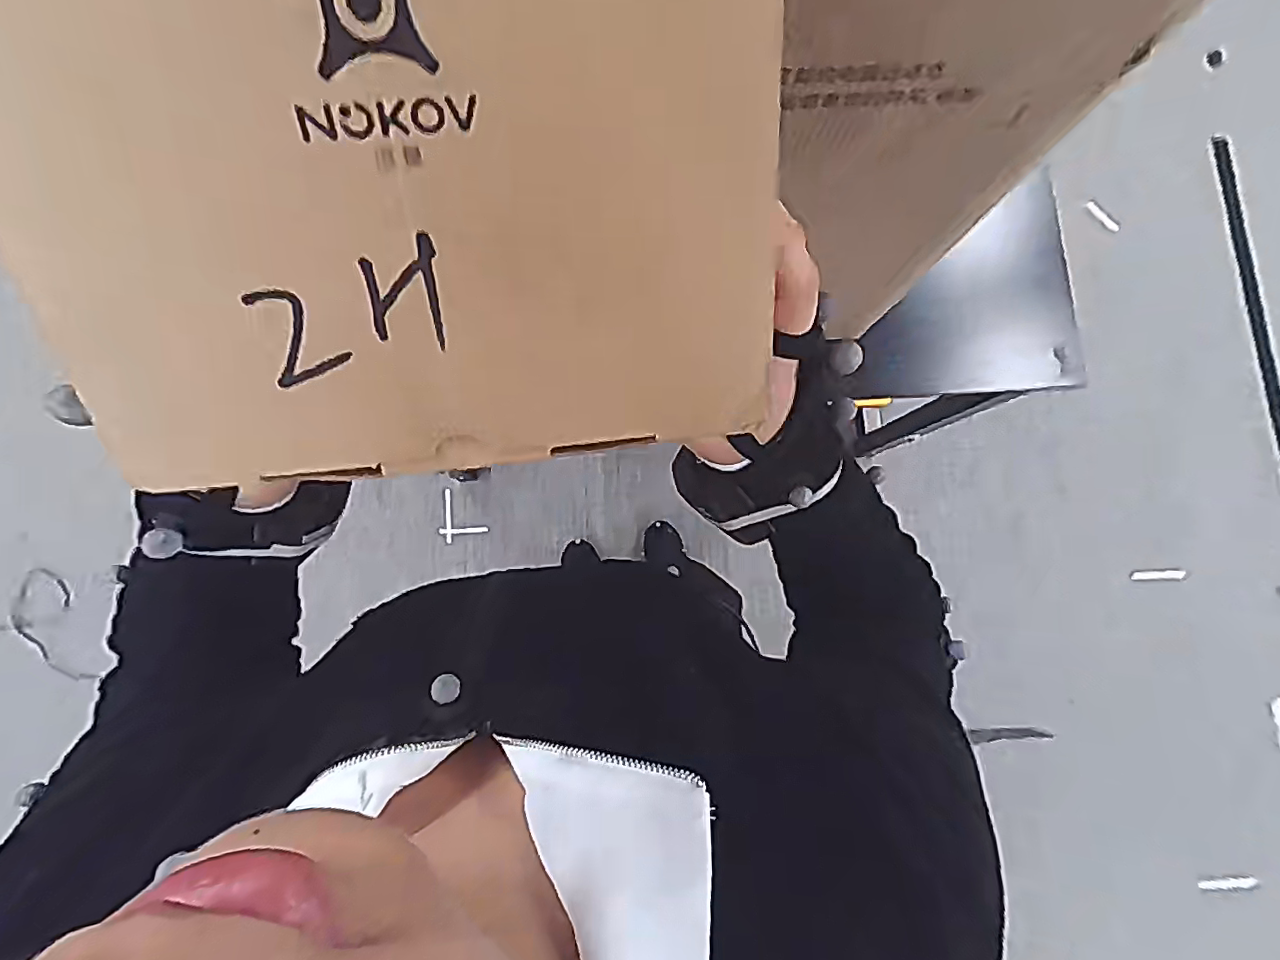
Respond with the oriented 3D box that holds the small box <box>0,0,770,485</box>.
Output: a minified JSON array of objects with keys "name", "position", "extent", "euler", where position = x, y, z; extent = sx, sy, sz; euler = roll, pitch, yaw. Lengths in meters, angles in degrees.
[{"name":"small box","position":[-0.062,-0.116,0.181],"extent":[0.168,0.176,0.179],"euler":[-5,114,-3]}]
